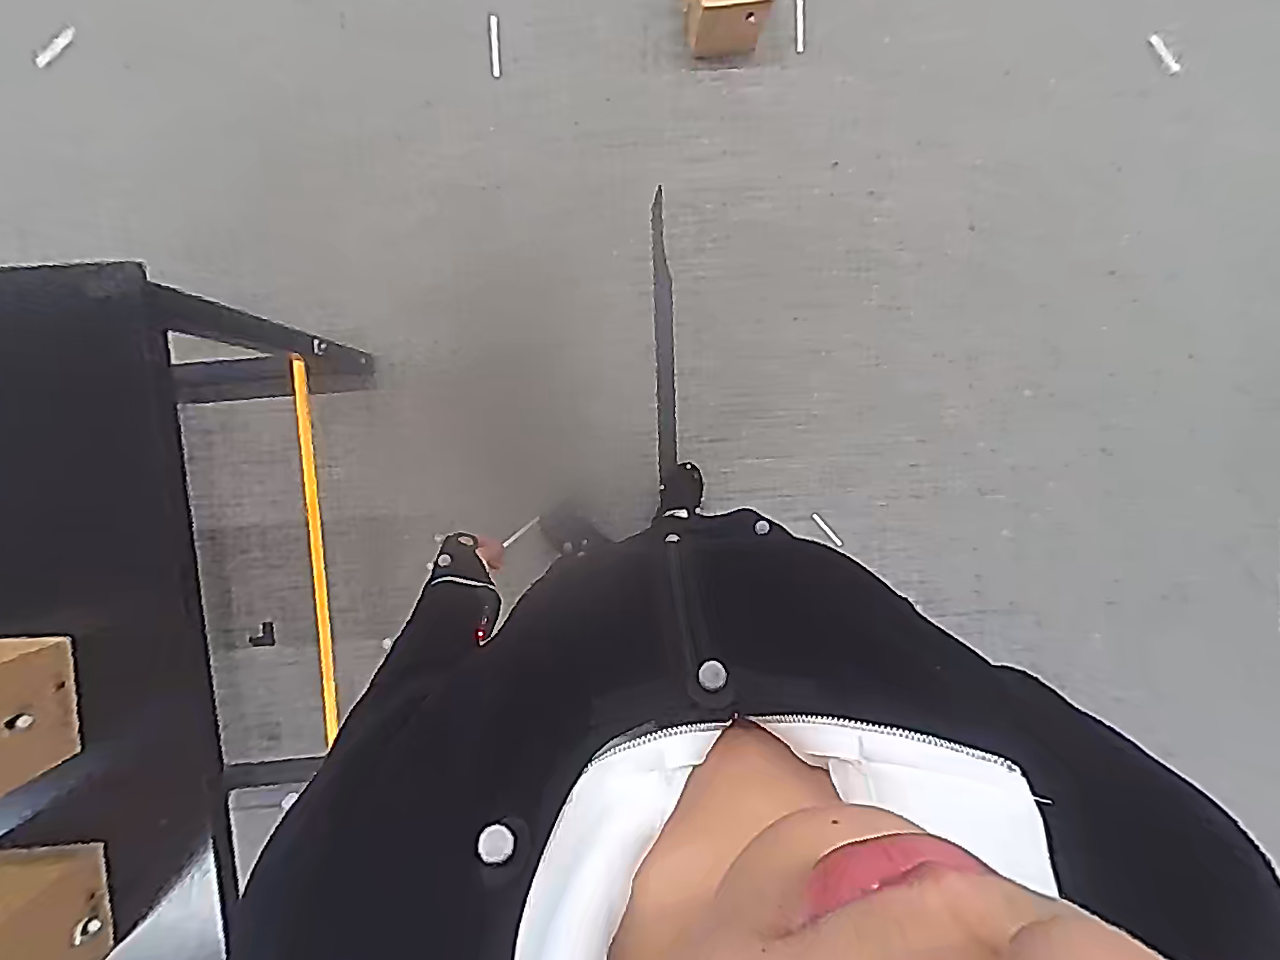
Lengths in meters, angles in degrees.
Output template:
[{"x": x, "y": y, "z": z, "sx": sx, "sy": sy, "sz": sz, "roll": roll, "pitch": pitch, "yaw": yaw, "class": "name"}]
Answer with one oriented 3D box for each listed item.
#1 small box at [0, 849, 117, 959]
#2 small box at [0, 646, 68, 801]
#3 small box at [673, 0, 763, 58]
[{"x": -0.836, "y": 0.611, "z": 0.686, "sx": 0.179, "sy": 0.176, "sz": 0.168, "roll": -4, "pitch": 95, "yaw": -3, "class": "small box"}, {"x": -0.865, "y": 0.314, "z": 0.663, "sx": 0.179, "sy": 0.176, "sz": 0.168, "roll": -2, "pitch": 94, "yaw": -3, "class": "small box"}, {"x": 0.188, "y": -1.191, "z": 1.335, "sx": 0.179, "sy": 0.176, "sz": 0.168, "roll": -10, "pitch": 95, "yaw": -2, "class": "small box"}]
